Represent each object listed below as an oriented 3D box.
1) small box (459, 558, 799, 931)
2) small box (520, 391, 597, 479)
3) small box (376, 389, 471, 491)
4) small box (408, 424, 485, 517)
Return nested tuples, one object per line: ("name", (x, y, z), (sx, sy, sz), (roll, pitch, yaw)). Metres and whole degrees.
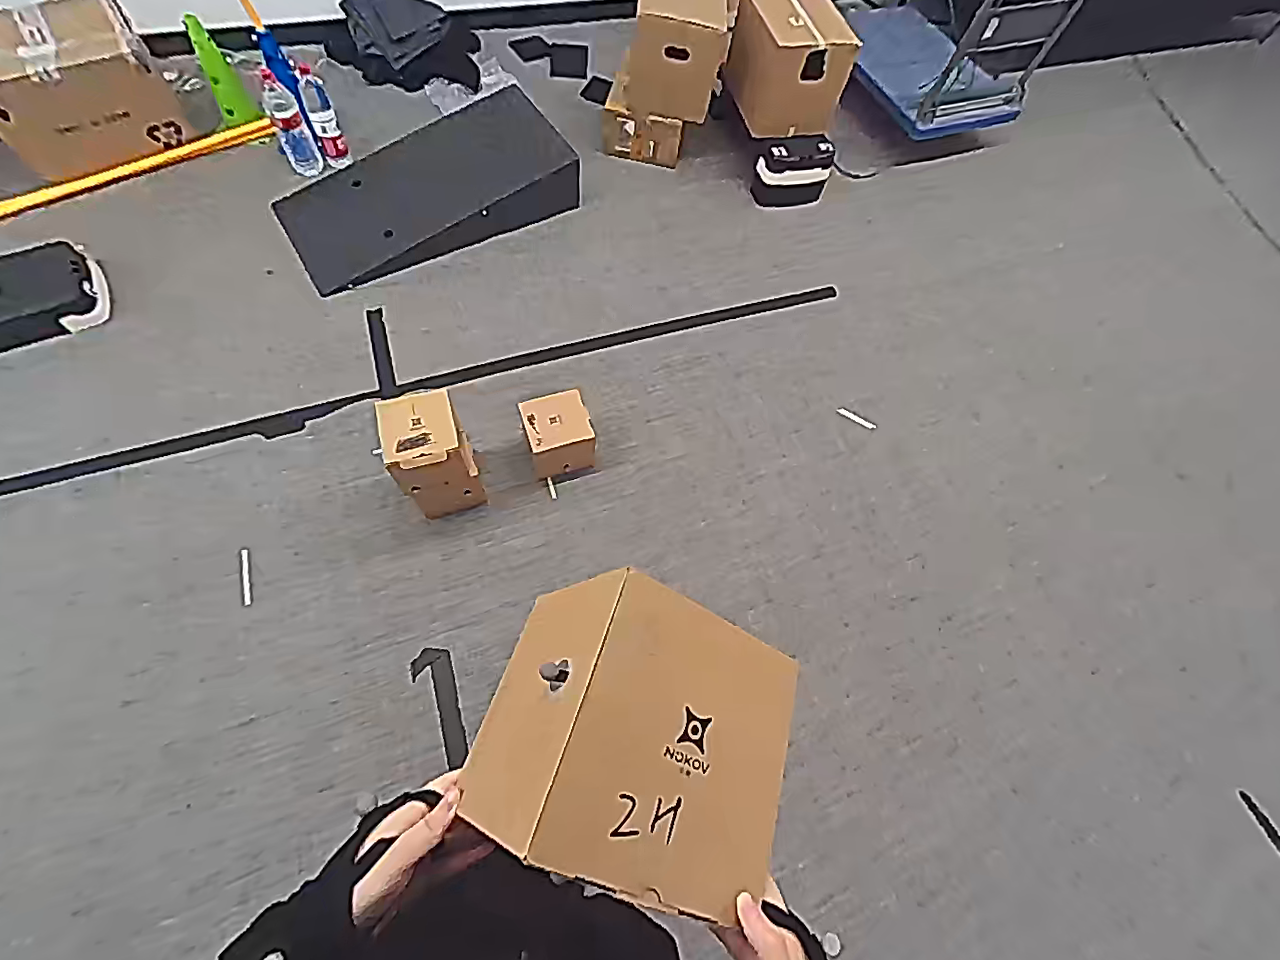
("small box", (-0.011, 0.185, 0.407), (0.168, 0.176, 0.179), (33, 57, -18))
("small box", (-0.233, -0.124, 1.535), (0.179, 0.176, 0.168), (-15, 67, -14))
("small box", (-0.516, -0.089, 1.304), (0.168, 0.176, 0.179), (-14, 65, -13))
("small box", (-0.525, -0.022, 1.453), (0.179, 0.176, 0.168), (-17, 67, -14))
